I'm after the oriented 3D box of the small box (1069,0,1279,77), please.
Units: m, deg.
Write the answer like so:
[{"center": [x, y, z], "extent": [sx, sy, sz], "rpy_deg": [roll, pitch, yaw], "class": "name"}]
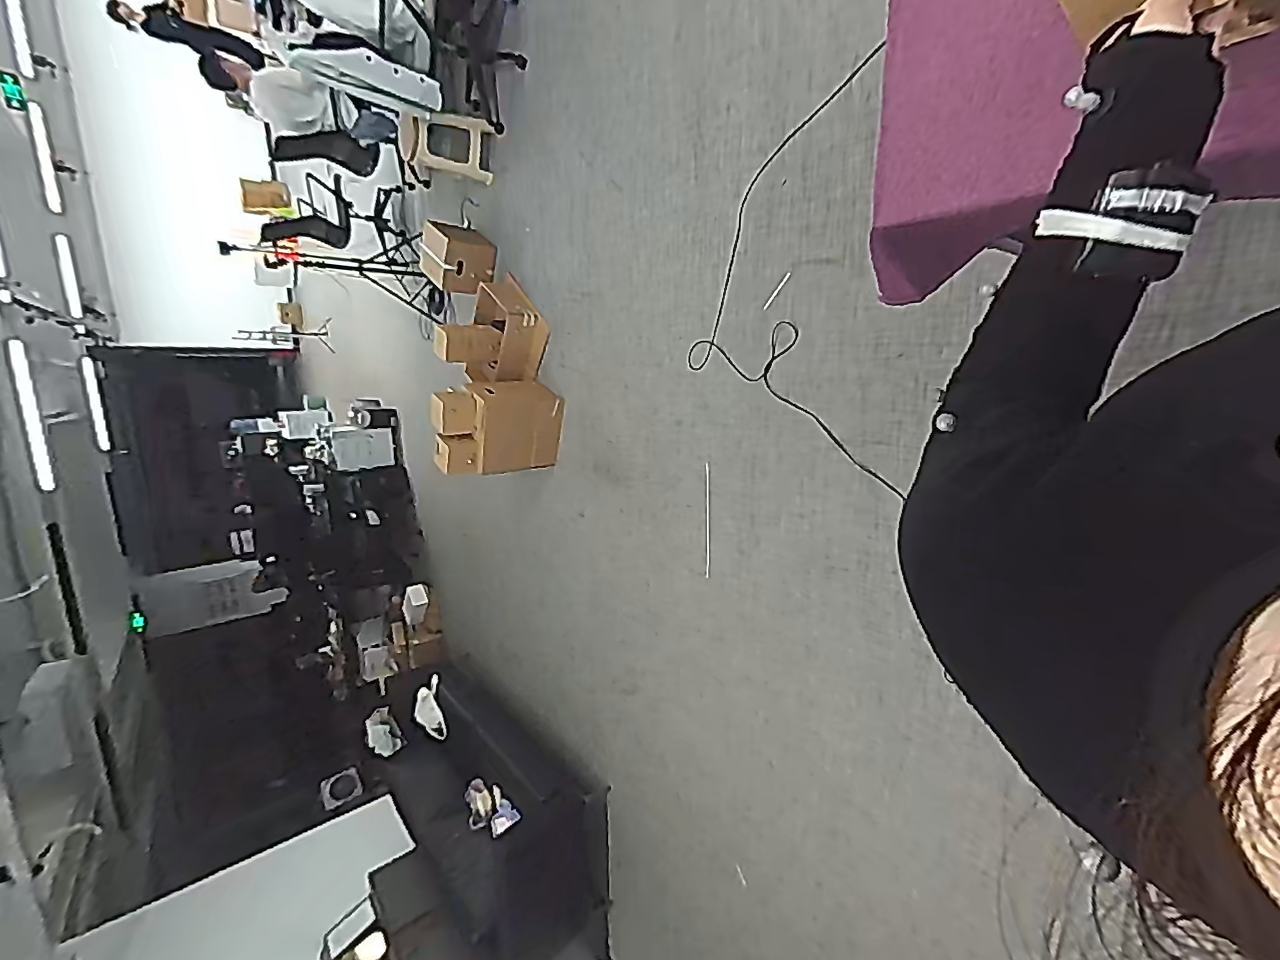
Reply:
[{"center": [0.439, -0.456, 0.401], "extent": [0.168, 0.176, 0.179], "rpy_deg": [14, 102, 49], "class": "small box"}]
